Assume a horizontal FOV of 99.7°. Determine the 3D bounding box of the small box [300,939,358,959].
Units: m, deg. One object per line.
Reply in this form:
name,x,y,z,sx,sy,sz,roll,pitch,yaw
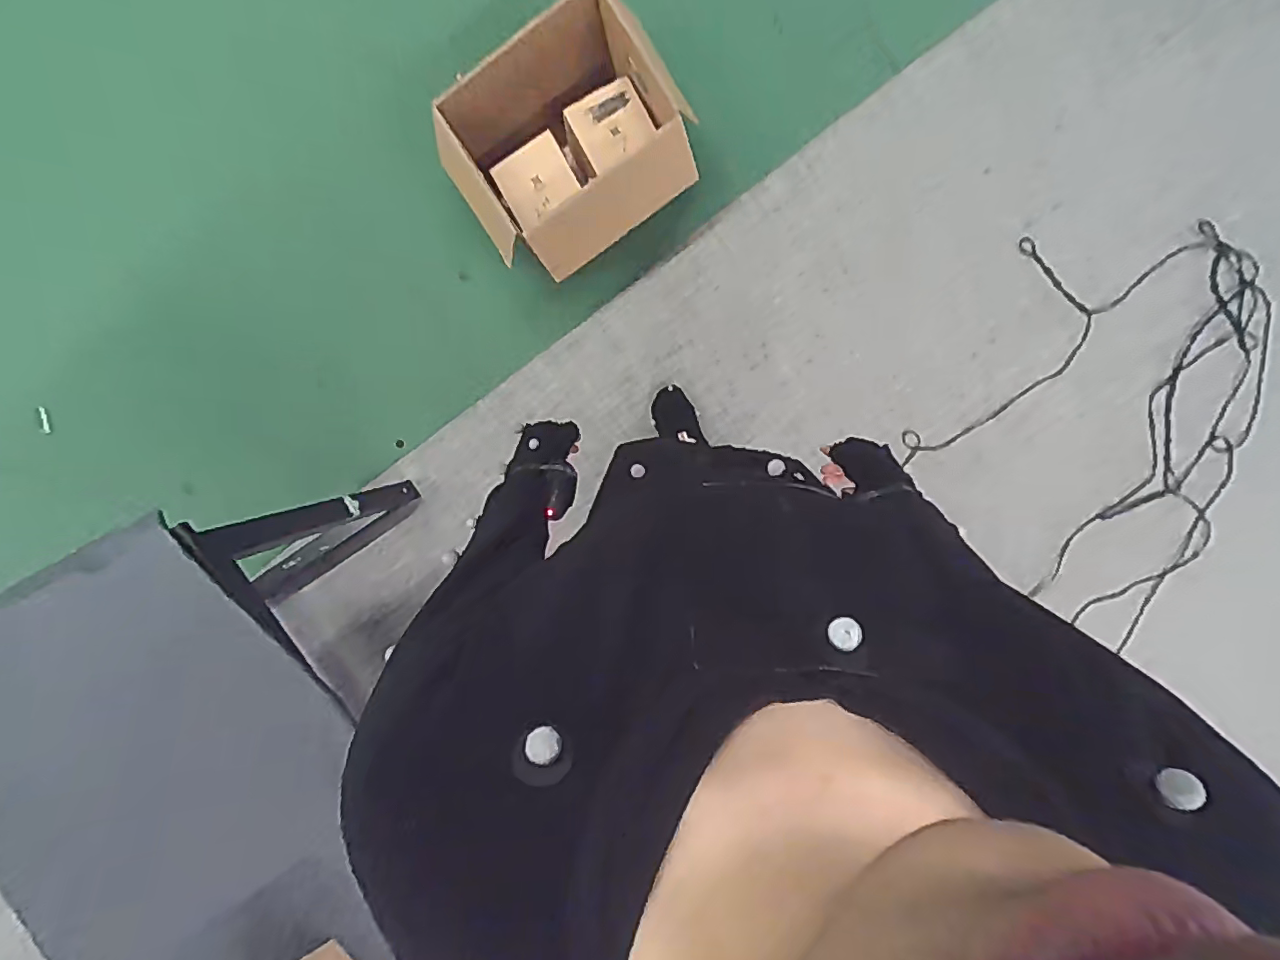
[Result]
small box,-0.491,0.820,0.770,0.179,0.176,0.168,-35,94,7
